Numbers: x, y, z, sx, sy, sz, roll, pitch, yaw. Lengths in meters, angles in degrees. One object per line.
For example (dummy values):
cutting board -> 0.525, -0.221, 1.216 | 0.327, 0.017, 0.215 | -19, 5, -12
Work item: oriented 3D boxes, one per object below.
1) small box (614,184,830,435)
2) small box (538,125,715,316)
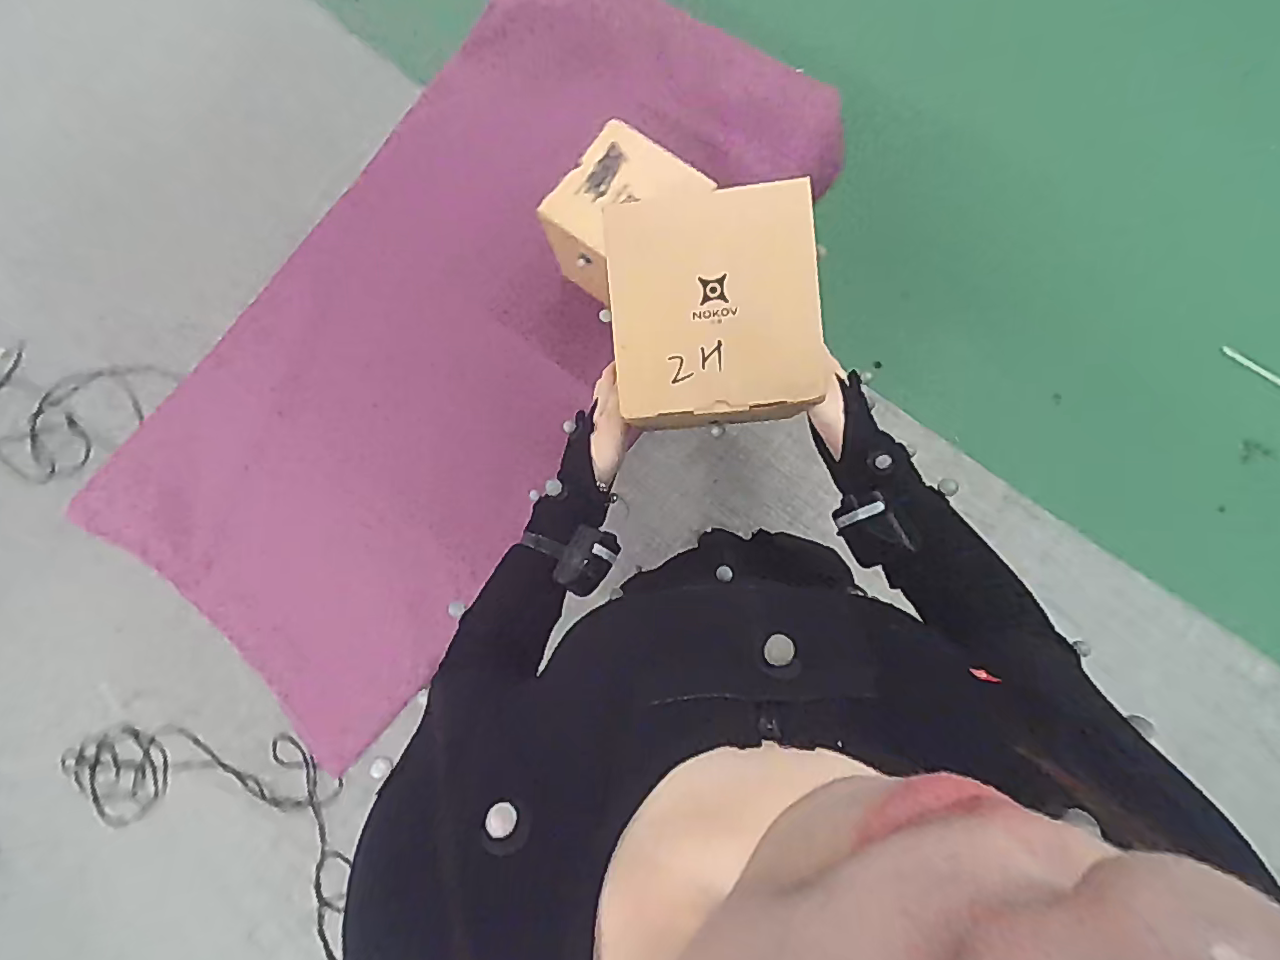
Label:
small box -> 0.071, -0.141, 0.507 | 0.168, 0.176, 0.179 | -4, 90, 7
small box -> -0.014, -0.349, 0.780 | 0.179, 0.176, 0.168 | 37, 86, 8
